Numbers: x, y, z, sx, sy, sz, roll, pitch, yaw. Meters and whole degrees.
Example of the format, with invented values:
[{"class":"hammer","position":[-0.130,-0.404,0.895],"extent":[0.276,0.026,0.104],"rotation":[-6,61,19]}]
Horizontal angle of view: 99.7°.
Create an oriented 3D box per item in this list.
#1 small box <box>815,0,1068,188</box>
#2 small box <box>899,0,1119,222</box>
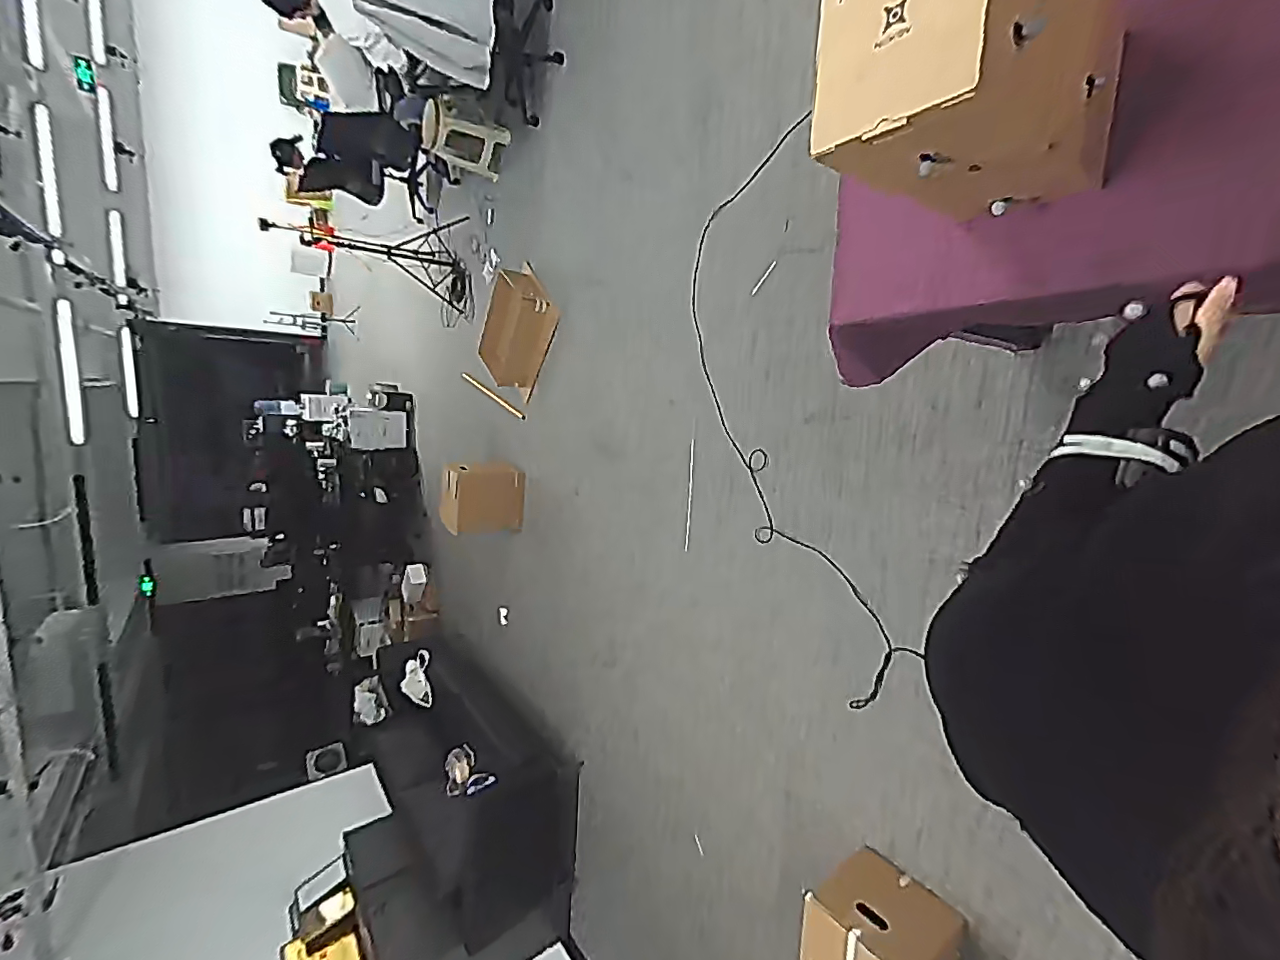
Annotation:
[{"class":"small box","position":[0.303,-0.418,0.549],"extent":[0.168,0.176,0.179],"rotation":[13,104,51]},{"class":"small box","position":[0.437,-0.433,0.644],"extent":[0.168,0.176,0.179],"rotation":[13,104,52]}]
